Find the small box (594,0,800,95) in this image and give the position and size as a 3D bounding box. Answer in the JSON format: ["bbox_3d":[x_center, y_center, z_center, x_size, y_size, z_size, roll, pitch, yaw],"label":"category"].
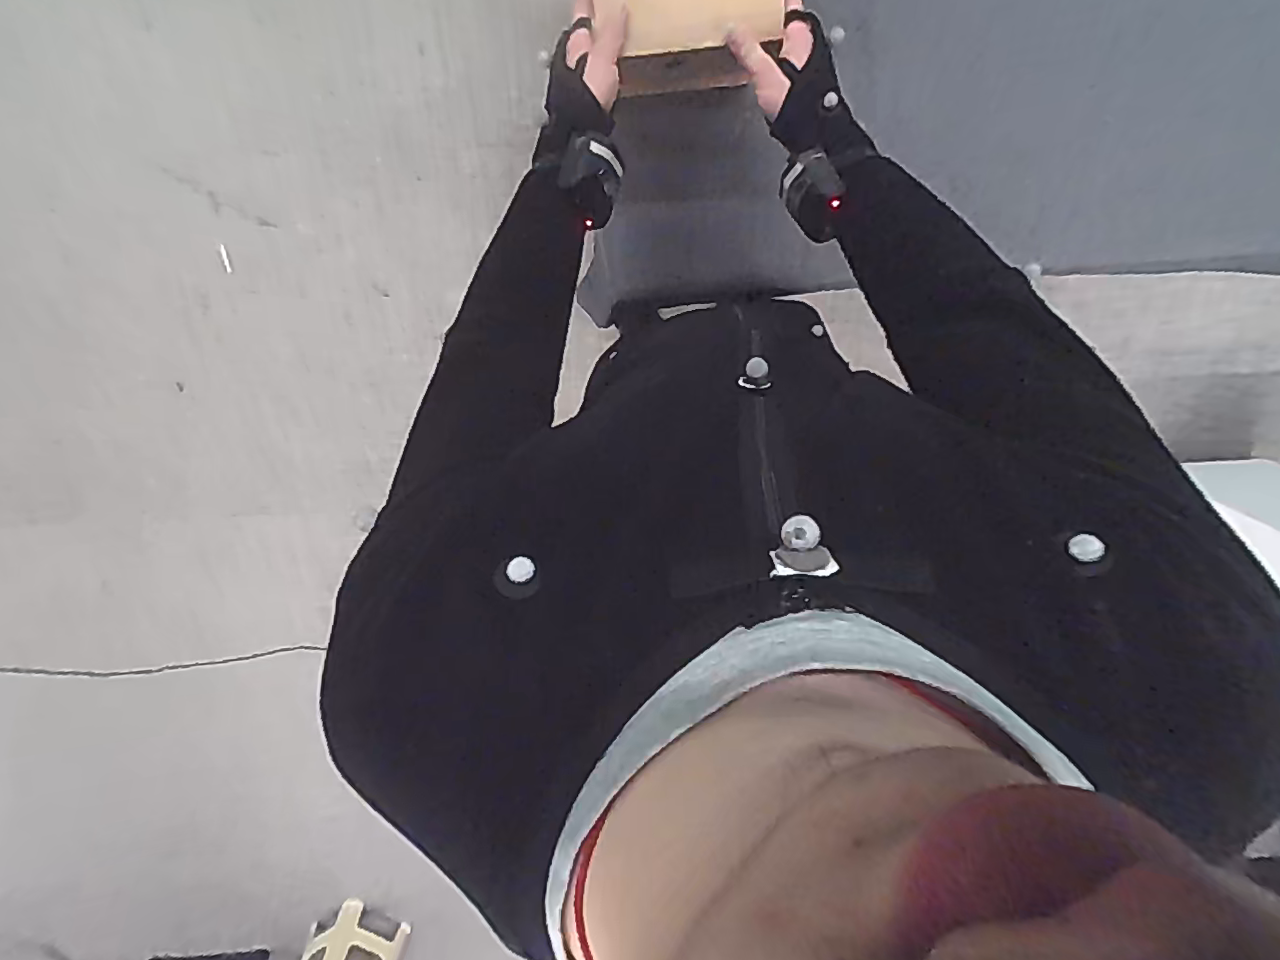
[{"bbox_3d":[0.042,-0.492,0.518,0.179,0.176,0.168,-7,114,-2],"label":"small box"}]
